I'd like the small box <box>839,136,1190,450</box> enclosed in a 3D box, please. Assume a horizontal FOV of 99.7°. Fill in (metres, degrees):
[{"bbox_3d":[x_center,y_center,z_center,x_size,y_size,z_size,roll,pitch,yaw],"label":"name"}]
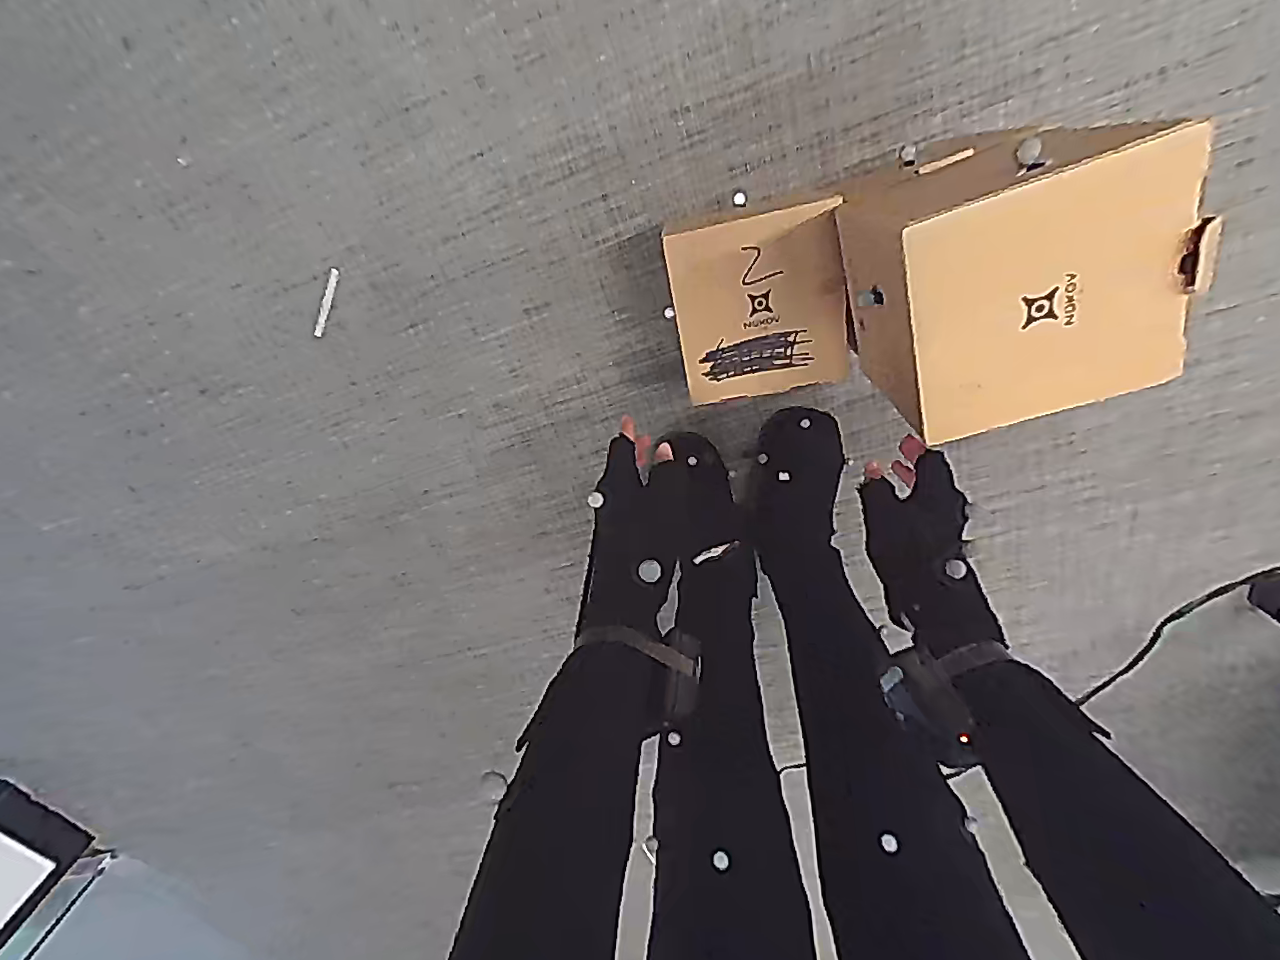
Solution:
[{"bbox_3d":[0.274,-0.151,0.440,0.179,0.176,0.168,-17,117,12],"label":"small box"}]
